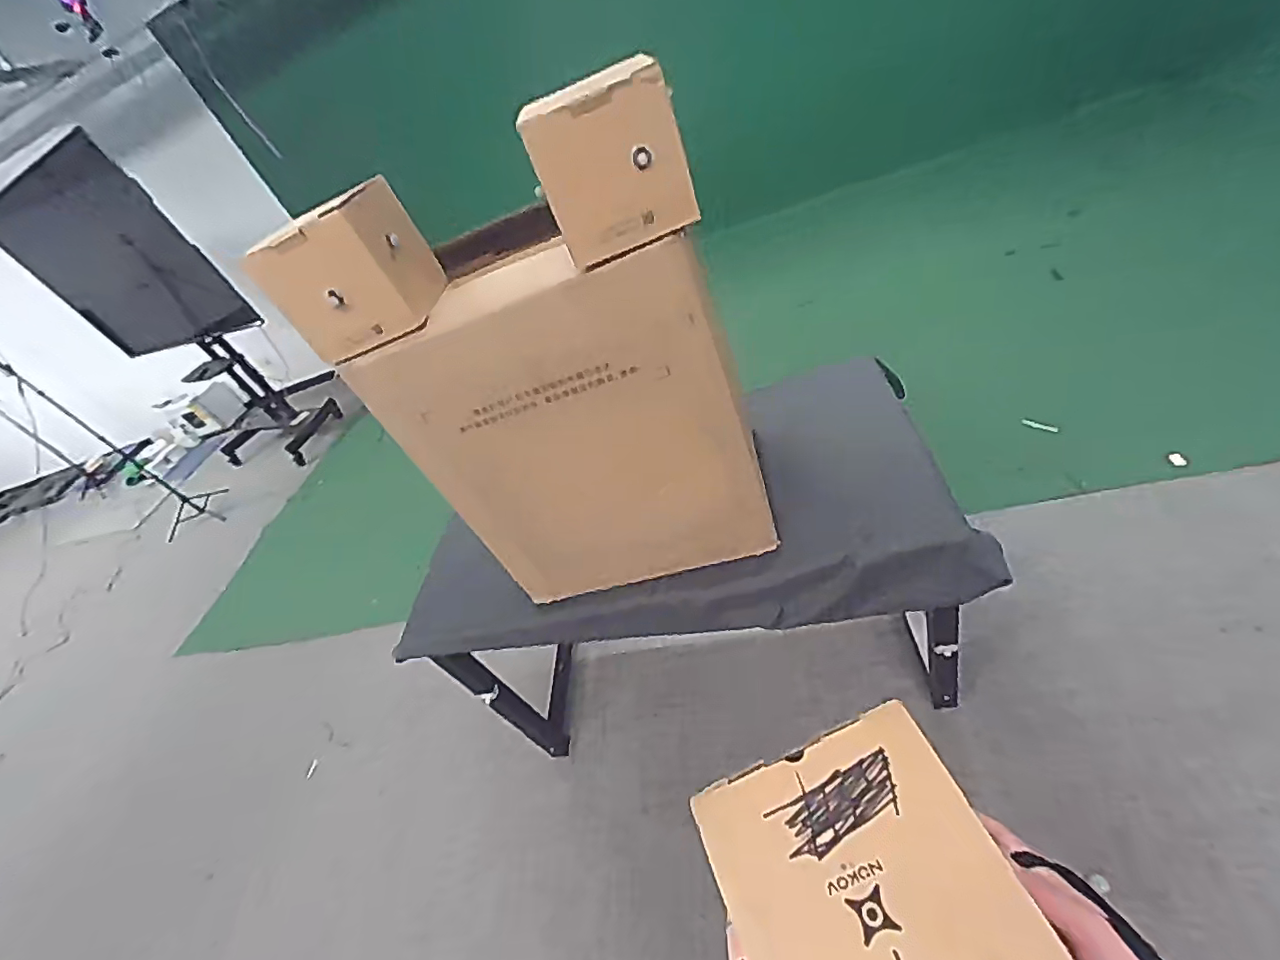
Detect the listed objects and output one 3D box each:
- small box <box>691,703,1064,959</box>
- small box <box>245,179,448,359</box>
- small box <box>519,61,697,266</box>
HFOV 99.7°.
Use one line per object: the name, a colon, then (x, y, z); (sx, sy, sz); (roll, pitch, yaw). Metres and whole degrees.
small box: (0.158, 0.294, 0.382); (0.168, 0.176, 0.179); (-27, 48, 3)
small box: (-0.408, -0.298, 0.788); (0.168, 0.176, 0.179); (-18, 40, 12)
small box: (-0.036, -0.394, 0.684); (0.168, 0.176, 0.179); (-18, 39, 7)
